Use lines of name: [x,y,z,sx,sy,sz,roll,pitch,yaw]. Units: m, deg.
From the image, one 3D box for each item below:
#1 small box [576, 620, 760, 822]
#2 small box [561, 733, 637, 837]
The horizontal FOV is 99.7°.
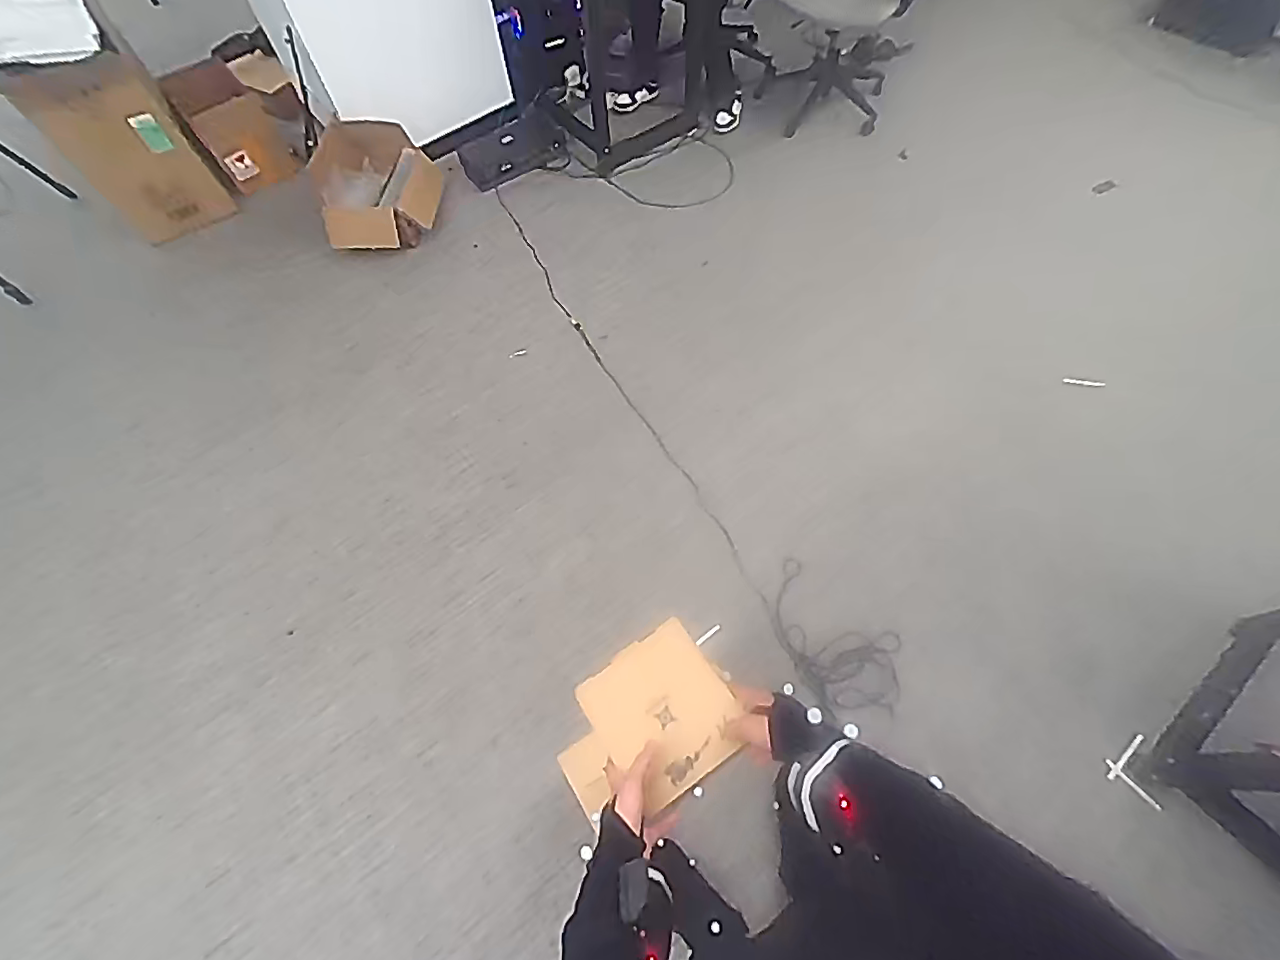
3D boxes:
small box: [0.043,0.322,0.729,0.168,0.176,0.179,-36,61,-5]
small box: [-0.042,0.618,1.156,0.179,0.176,0.168,-33,65,-11]
